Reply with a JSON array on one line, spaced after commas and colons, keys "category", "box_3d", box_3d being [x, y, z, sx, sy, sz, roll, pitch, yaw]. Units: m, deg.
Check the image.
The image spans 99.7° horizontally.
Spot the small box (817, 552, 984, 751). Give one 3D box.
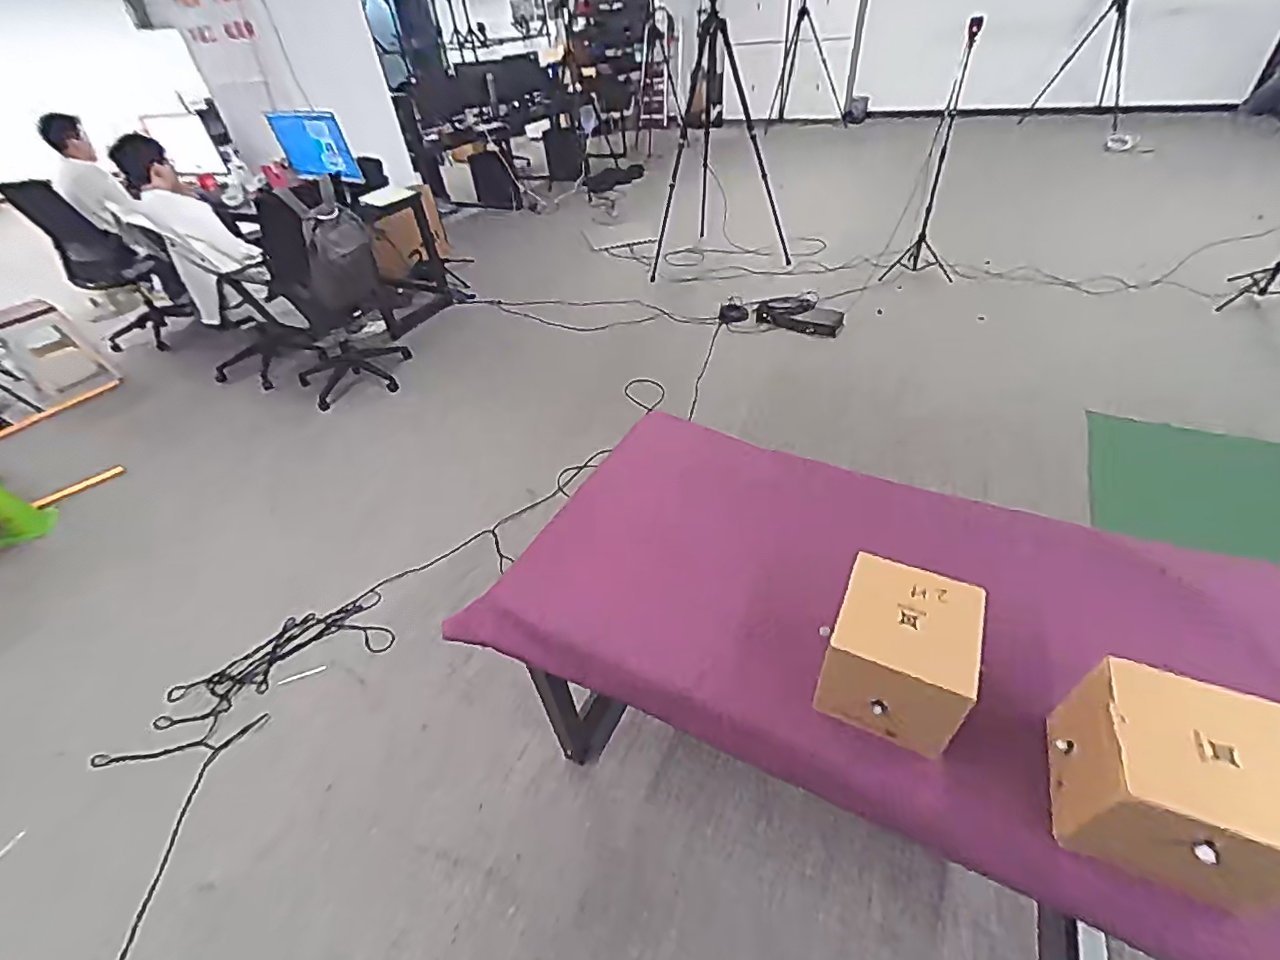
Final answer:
[{"category": "small box", "box_3d": [0.355, 0.238, 0.755, 0.168, 0.176, 0.179, 17, 45, 24]}]

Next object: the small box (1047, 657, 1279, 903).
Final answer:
[{"category": "small box", "box_3d": [0.599, 0.339, 0.611, 0.179, 0.176, 0.168, 13, 46, 23]}]
